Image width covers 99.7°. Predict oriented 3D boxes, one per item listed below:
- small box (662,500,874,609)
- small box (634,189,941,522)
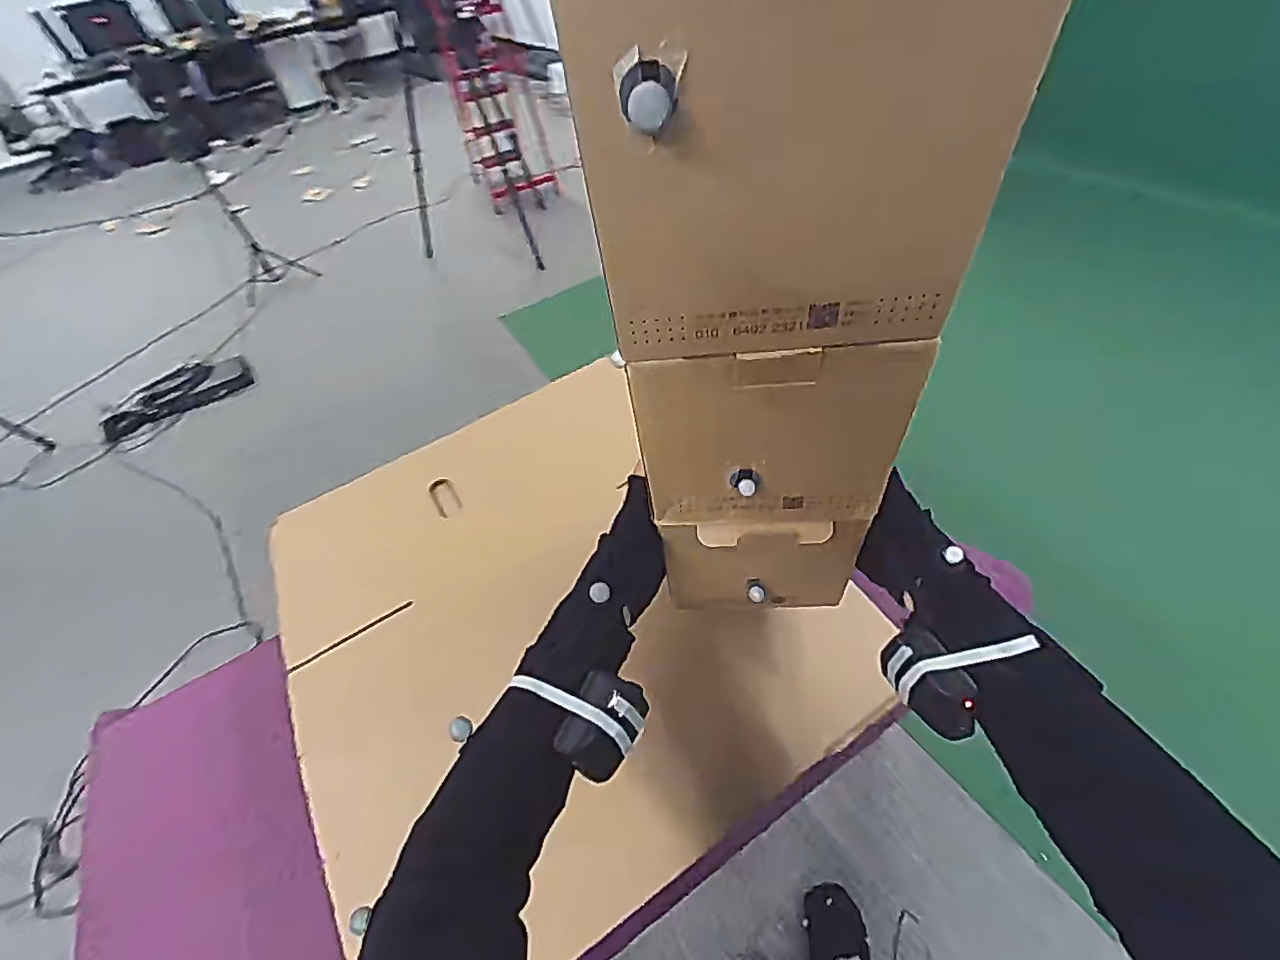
[{"bbox_3d":[0.113,0.011,0.533,0.168,0.176,0.179,-2,53,8],"label":"small box"},{"bbox_3d":[0.090,-0.086,0.404,0.168,0.176,0.179,-2,53,7],"label":"small box"}]
